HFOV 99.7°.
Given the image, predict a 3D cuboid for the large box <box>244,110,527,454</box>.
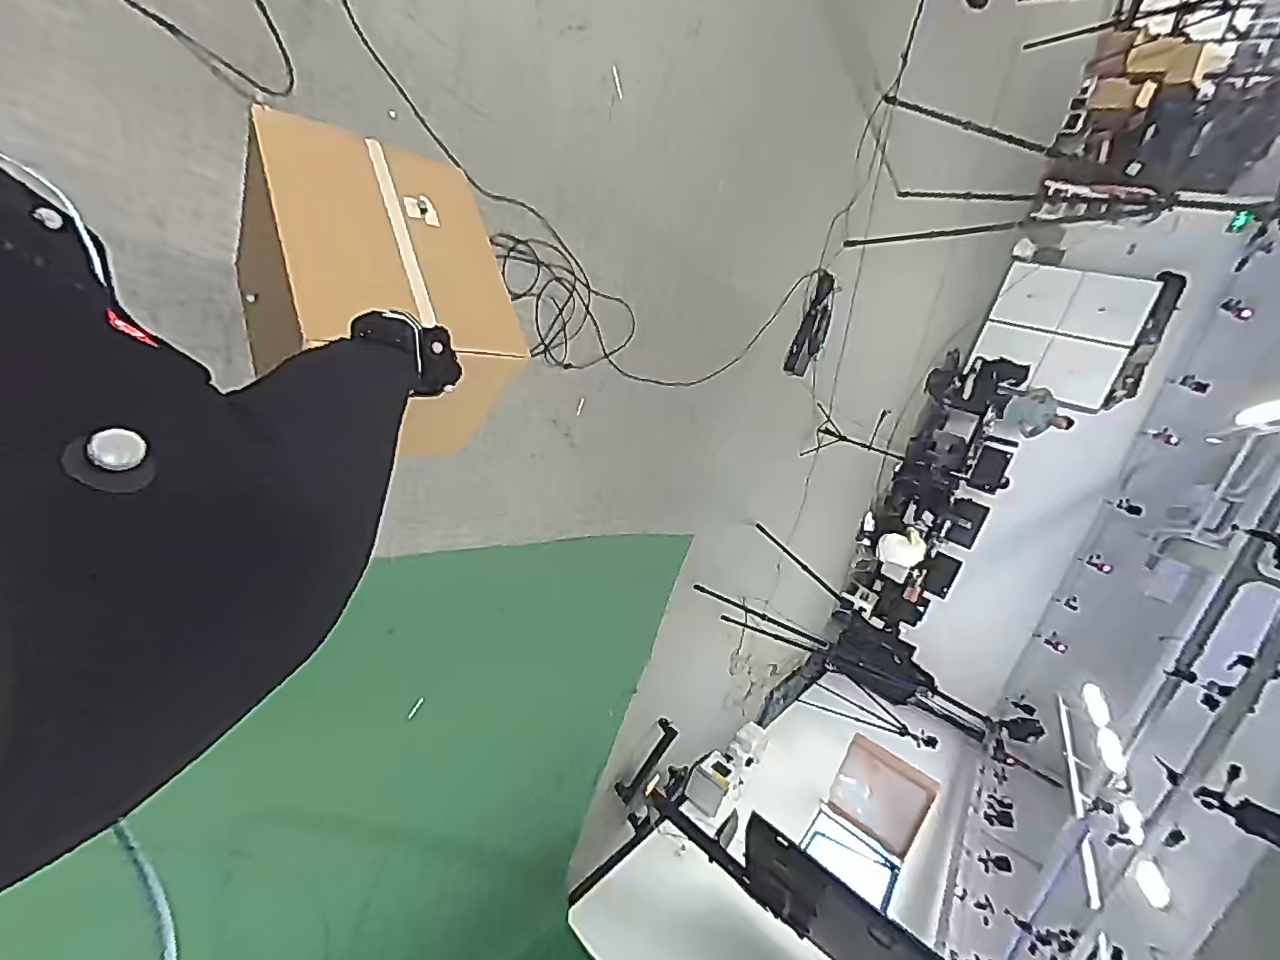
[{"bbox_3d":[-0.445,-0.296,0.913,0.320,0.408,0.320,-7,158,-43],"label":"large box"}]
